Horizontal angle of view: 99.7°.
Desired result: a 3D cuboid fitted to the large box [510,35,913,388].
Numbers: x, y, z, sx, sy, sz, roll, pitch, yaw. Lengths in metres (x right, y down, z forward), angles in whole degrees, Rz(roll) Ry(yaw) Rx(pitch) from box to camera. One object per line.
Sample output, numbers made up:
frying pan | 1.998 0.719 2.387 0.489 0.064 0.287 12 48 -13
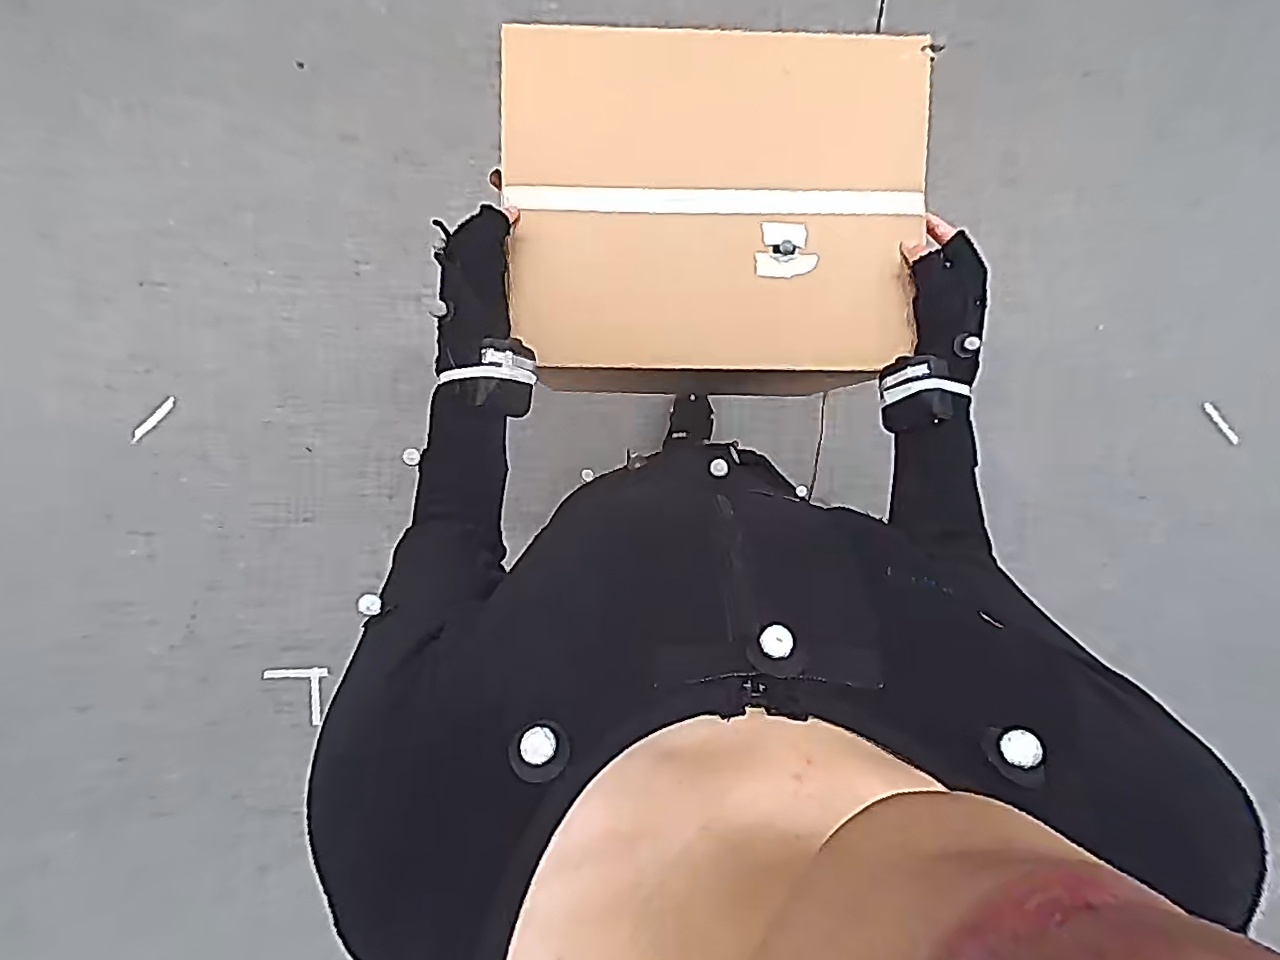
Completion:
large box | 0.067 -0.289 0.686 0.408 0.320 0.320 0 95 -2
